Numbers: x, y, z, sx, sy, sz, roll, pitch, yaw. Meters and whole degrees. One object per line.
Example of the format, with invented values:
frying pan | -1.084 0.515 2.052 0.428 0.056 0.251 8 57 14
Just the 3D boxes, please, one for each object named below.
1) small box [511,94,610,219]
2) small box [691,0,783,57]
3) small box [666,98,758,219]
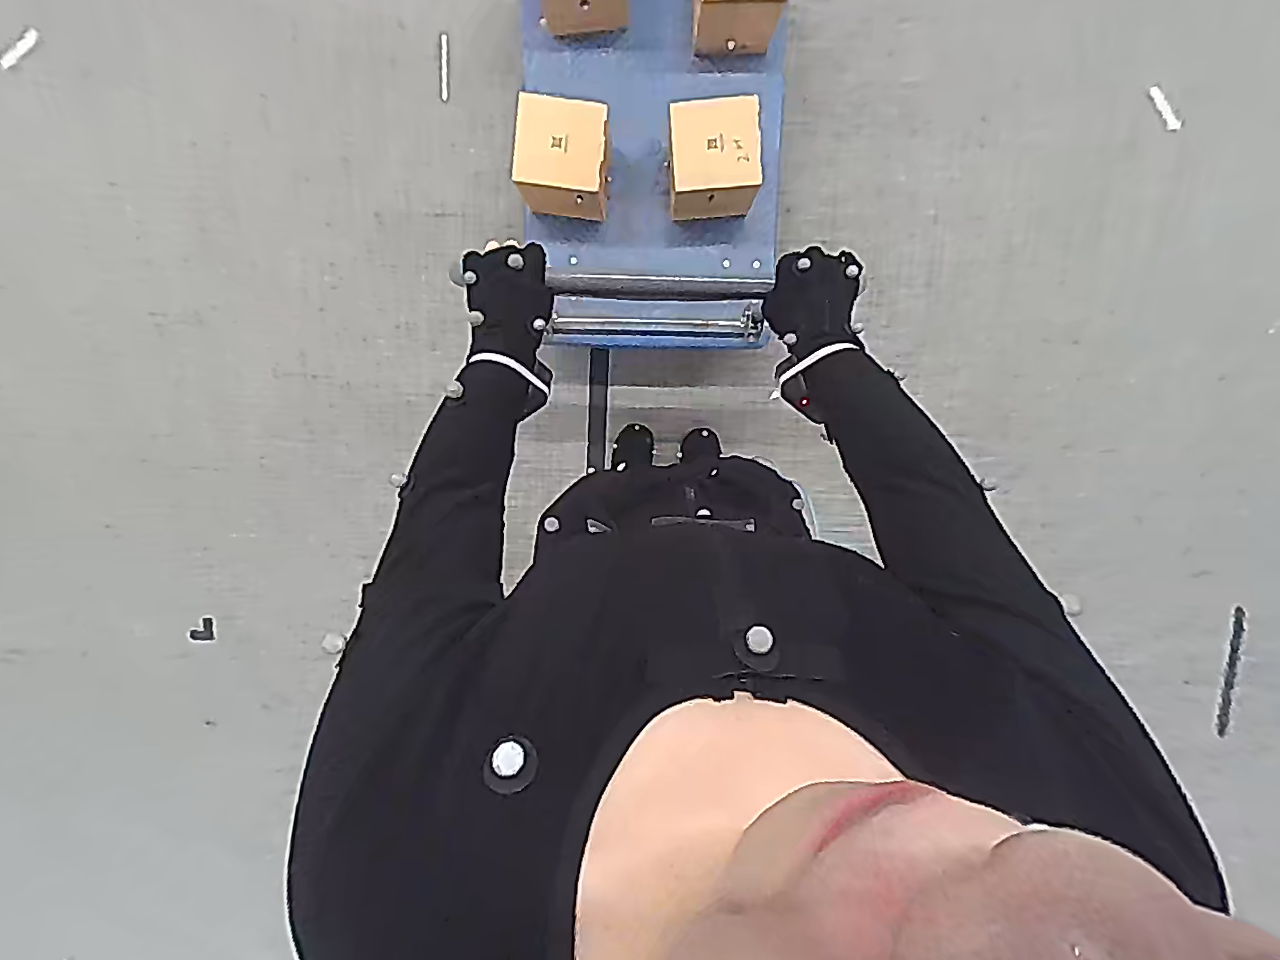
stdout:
small box | -0.162 -0.671 1.143 0.179 0.176 0.168 7 97 -2
small box | 0.192 -1.006 1.095 0.168 0.176 0.179 0 99 0
small box | 0.145 -0.667 1.141 0.179 0.176 0.168 -4 98 1
